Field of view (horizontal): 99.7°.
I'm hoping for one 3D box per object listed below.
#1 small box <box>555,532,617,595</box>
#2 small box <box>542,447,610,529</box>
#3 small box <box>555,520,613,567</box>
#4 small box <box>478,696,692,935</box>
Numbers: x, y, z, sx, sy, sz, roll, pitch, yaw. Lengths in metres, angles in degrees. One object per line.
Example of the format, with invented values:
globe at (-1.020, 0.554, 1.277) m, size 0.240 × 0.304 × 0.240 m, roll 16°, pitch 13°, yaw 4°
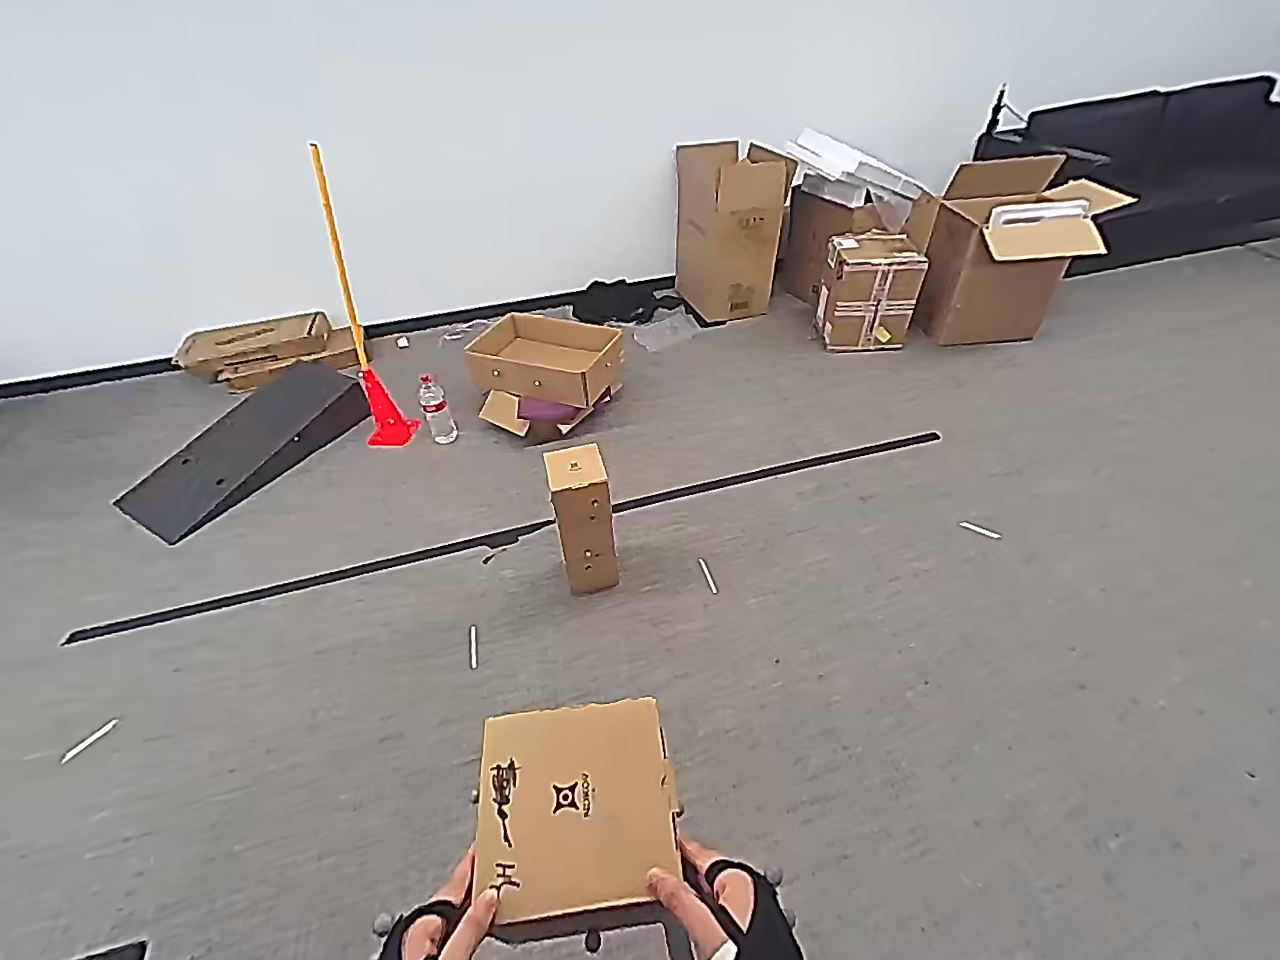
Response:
small box at (-0.183, 0.270, 1.850) m, size 0.179 × 0.176 × 0.168 m, roll -11°, pitch 44°, yaw -9°
small box at (-0.191, 0.030, 1.627) m, size 0.168 × 0.176 × 0.179 m, roll -12°, pitch 42°, yaw -10°
small box at (-0.186, 0.152, 1.735) m, size 0.168 × 0.176 × 0.179 m, roll -12°, pitch 44°, yaw -9°
small box at (-0.052, 0.340, 0.548) m, size 0.179 × 0.176 × 0.168 m, roll -5°, pitch 46°, yaw -5°
